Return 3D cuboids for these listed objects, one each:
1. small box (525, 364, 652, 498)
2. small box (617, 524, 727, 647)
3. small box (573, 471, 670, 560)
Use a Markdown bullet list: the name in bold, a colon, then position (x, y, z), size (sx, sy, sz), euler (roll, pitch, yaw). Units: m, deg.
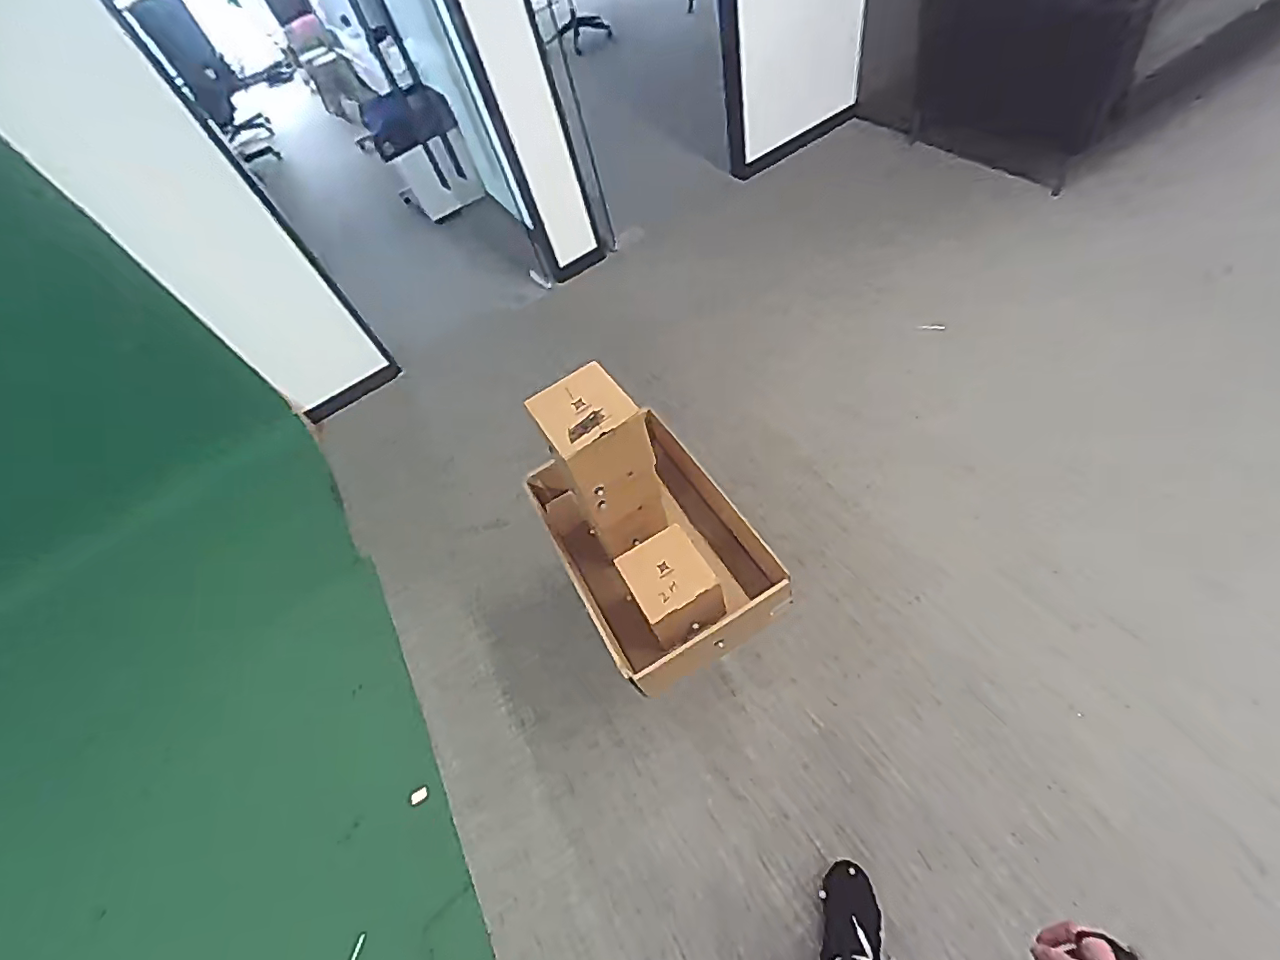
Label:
- **small box**: position (-0.095, -0.087, 1.066), size (0.168, 0.176, 0.179), euler (-33, 56, -9)
- **small box**: position (0.074, 0.236, 1.193), size (0.168, 0.176, 0.179), euler (-31, 52, -6)
- **small box**: position (-0.042, 0.074, 1.349), size (0.168, 0.176, 0.179), euler (-31, 56, -8)
